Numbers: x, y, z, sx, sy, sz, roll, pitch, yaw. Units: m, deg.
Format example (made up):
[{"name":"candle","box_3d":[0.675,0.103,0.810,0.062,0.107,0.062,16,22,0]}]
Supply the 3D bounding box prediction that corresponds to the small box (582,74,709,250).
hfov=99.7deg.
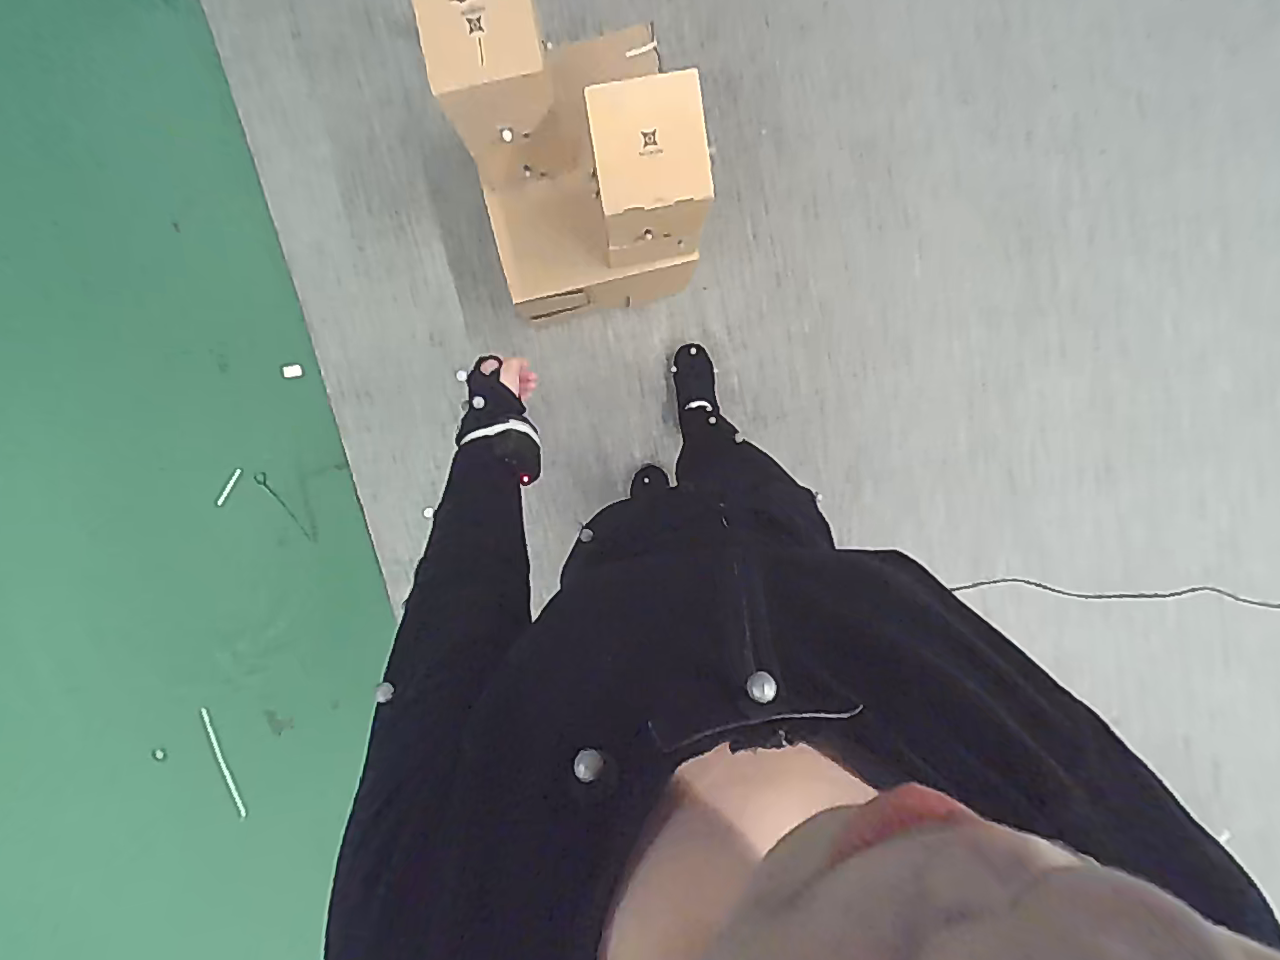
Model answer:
[{"name":"small box","box_3d":[0.006,-0.490,0.856,0.168,0.176,0.179,-10,97,0]}]

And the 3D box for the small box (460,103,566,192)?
[{"name":"small box","box_3d":[-0.244,-0.673,1.003,0.168,0.176,0.179,-13,94,2]}]

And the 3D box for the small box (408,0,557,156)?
[{"name":"small box","box_3d":[-0.236,-0.646,0.839,0.168,0.176,0.179,-11,95,2]}]
